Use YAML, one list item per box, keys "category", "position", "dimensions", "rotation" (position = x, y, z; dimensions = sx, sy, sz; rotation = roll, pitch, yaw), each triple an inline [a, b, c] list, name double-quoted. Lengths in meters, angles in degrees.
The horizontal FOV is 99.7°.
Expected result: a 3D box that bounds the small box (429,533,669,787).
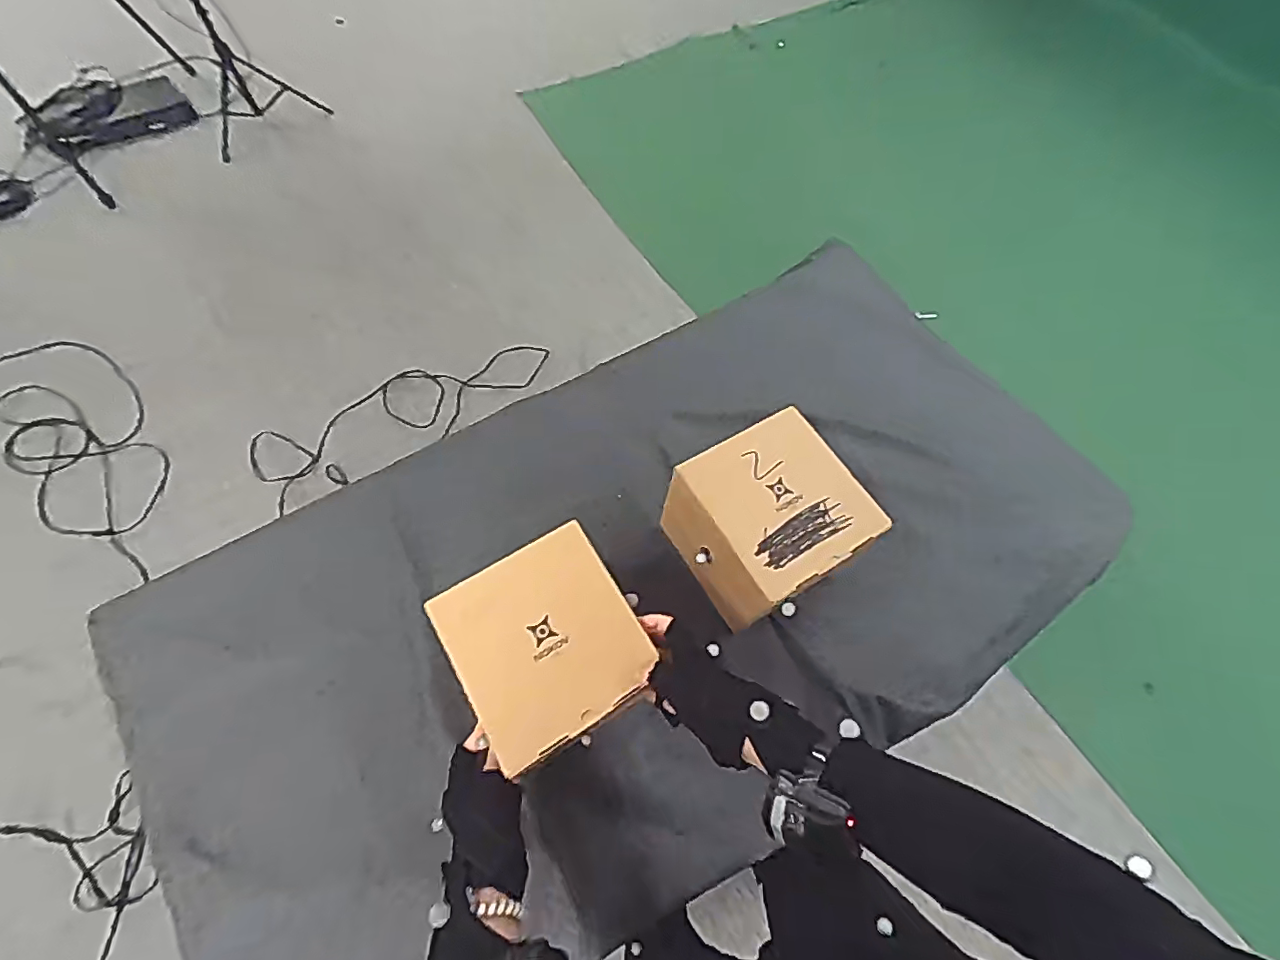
- category: "small box"
  position: [-0.092, 0.191, 0.571]
  dimensions: [0.168, 0.176, 0.179]
  rotation: [-29, 70, -17]
